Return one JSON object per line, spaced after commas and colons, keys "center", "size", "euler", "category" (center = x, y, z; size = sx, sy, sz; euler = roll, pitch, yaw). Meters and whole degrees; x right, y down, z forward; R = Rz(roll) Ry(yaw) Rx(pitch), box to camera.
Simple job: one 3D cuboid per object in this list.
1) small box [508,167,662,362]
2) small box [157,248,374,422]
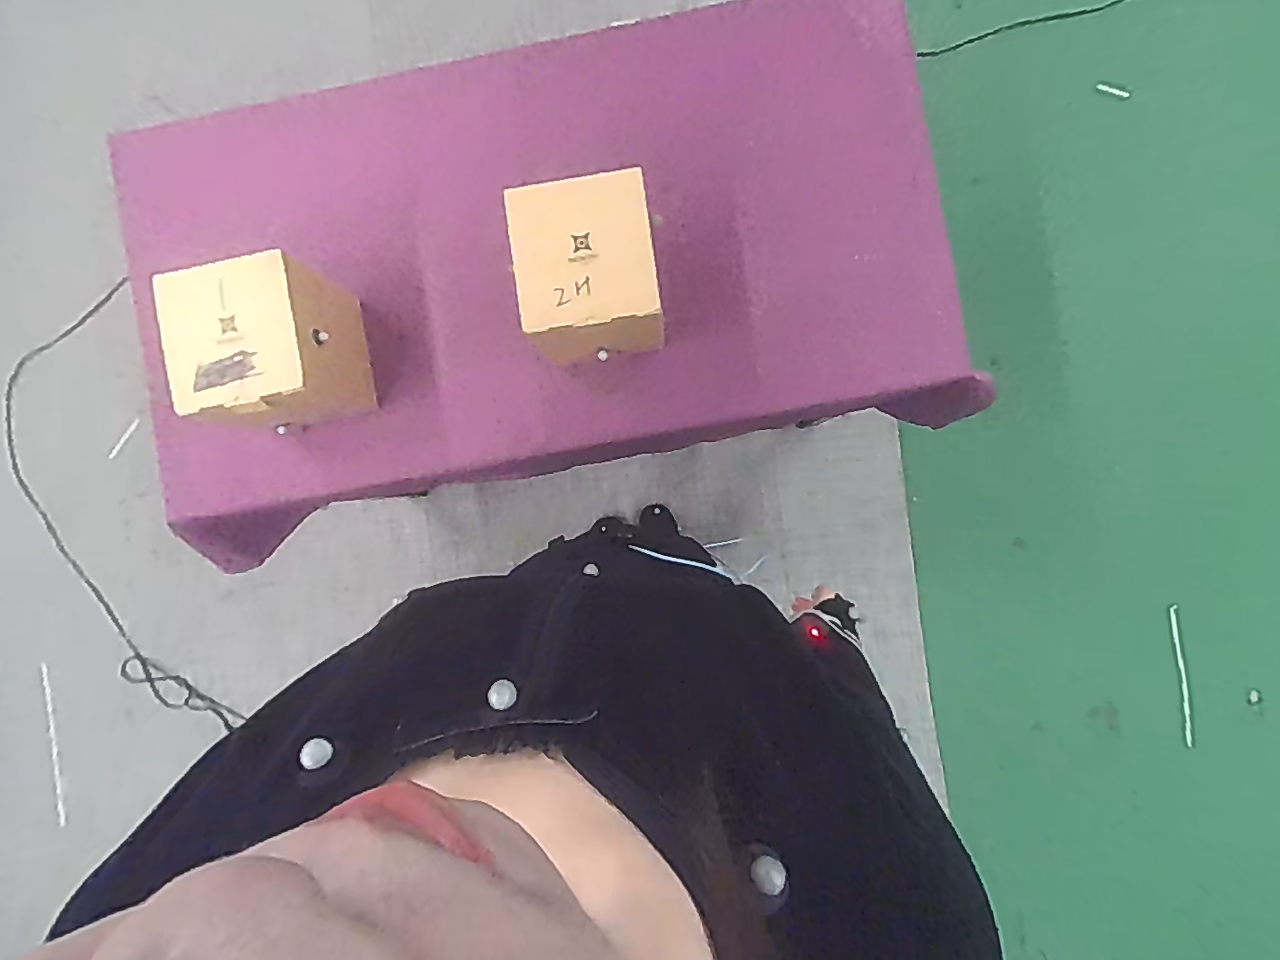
{"center": [-0.063, -0.268, 0.709], "size": [0.168, 0.176, 0.179], "euler": [-7, 89, 3], "category": "small box"}
{"center": [-0.487, -0.179, 0.730], "size": [0.168, 0.176, 0.179], "euler": [-11, 88, 2], "category": "small box"}
